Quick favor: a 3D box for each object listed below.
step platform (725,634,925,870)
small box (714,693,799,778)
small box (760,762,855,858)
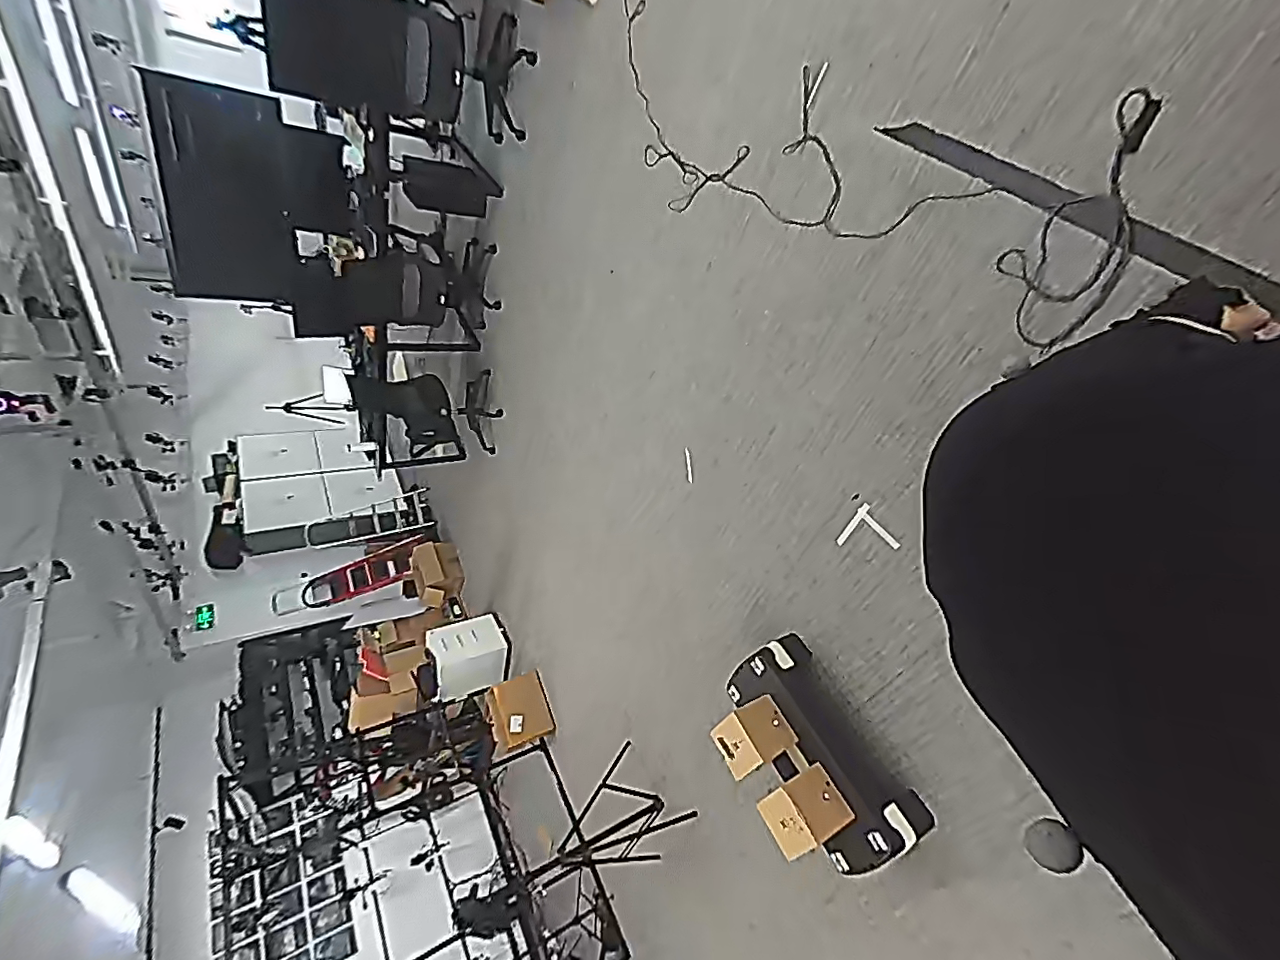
[{"bbox_3d":[0.570,0.870,1.780,0.684,0.204,0.286,55,139,33],"label":"step platform"},{"bbox_3d":[0.377,0.820,1.743,0.168,0.176,0.179,57,139,31],"label":"small box"},{"bbox_3d":[0.496,0.973,1.599,0.168,0.176,0.179,55,139,32],"label":"small box"}]
